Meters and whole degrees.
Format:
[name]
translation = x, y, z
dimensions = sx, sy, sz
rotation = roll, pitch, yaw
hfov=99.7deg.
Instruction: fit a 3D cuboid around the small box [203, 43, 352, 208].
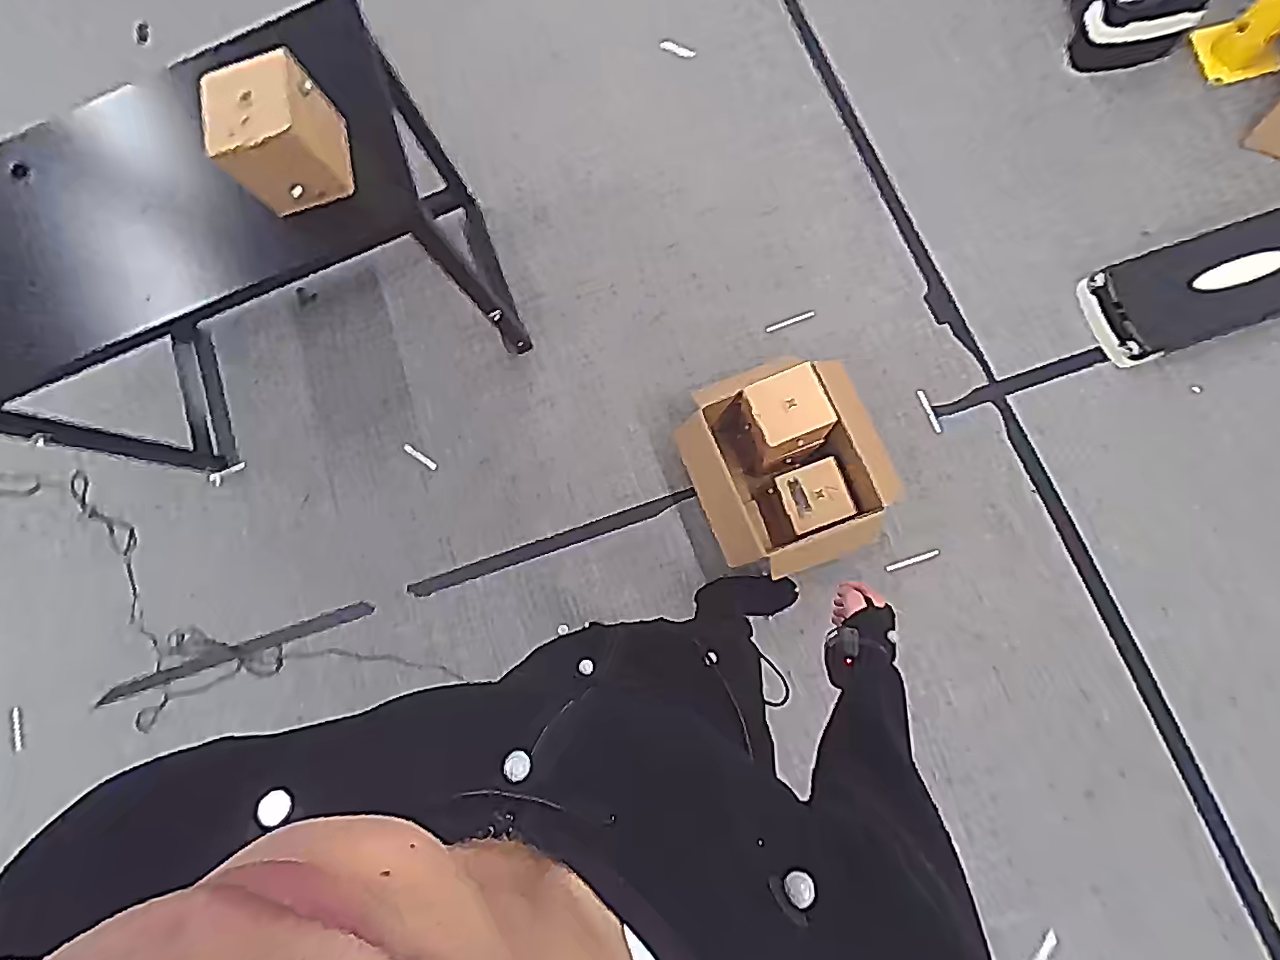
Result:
[small box]
translation = -0.676, -0.659, 1.022
dimensions = 0.168, 0.176, 0.179
rotation = -13, 80, 6
